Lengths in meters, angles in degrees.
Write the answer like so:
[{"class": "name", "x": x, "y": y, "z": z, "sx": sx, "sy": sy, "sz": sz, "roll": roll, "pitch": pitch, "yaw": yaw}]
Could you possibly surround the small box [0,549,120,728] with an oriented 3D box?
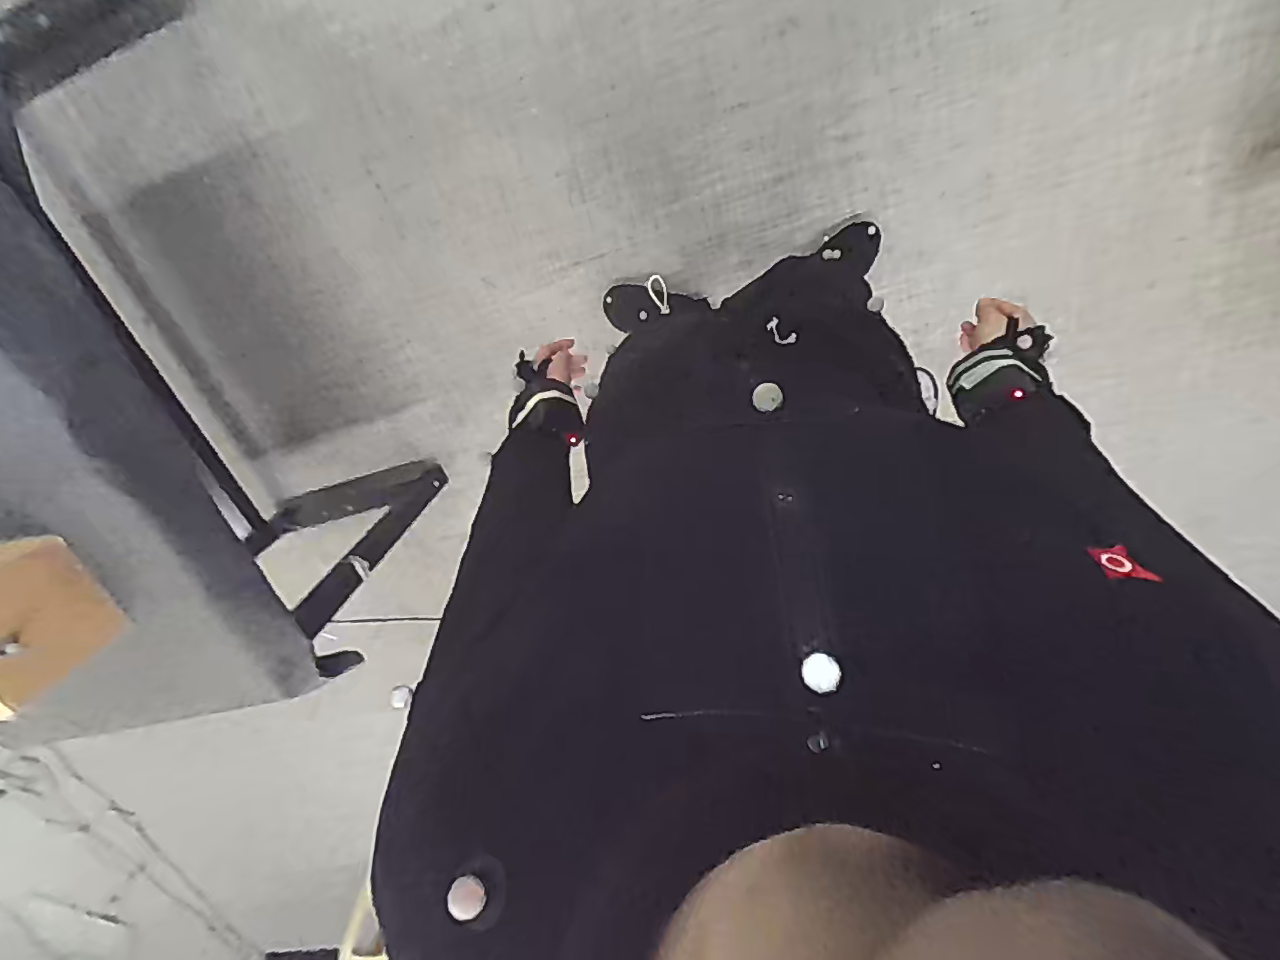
[{"class": "small box", "x": -0.869, "y": 0.204, "z": 0.710, "sx": 0.168, "sy": 0.176, "sz": 0.179, "roll": -9, "pitch": 116, "yaw": 9}]
